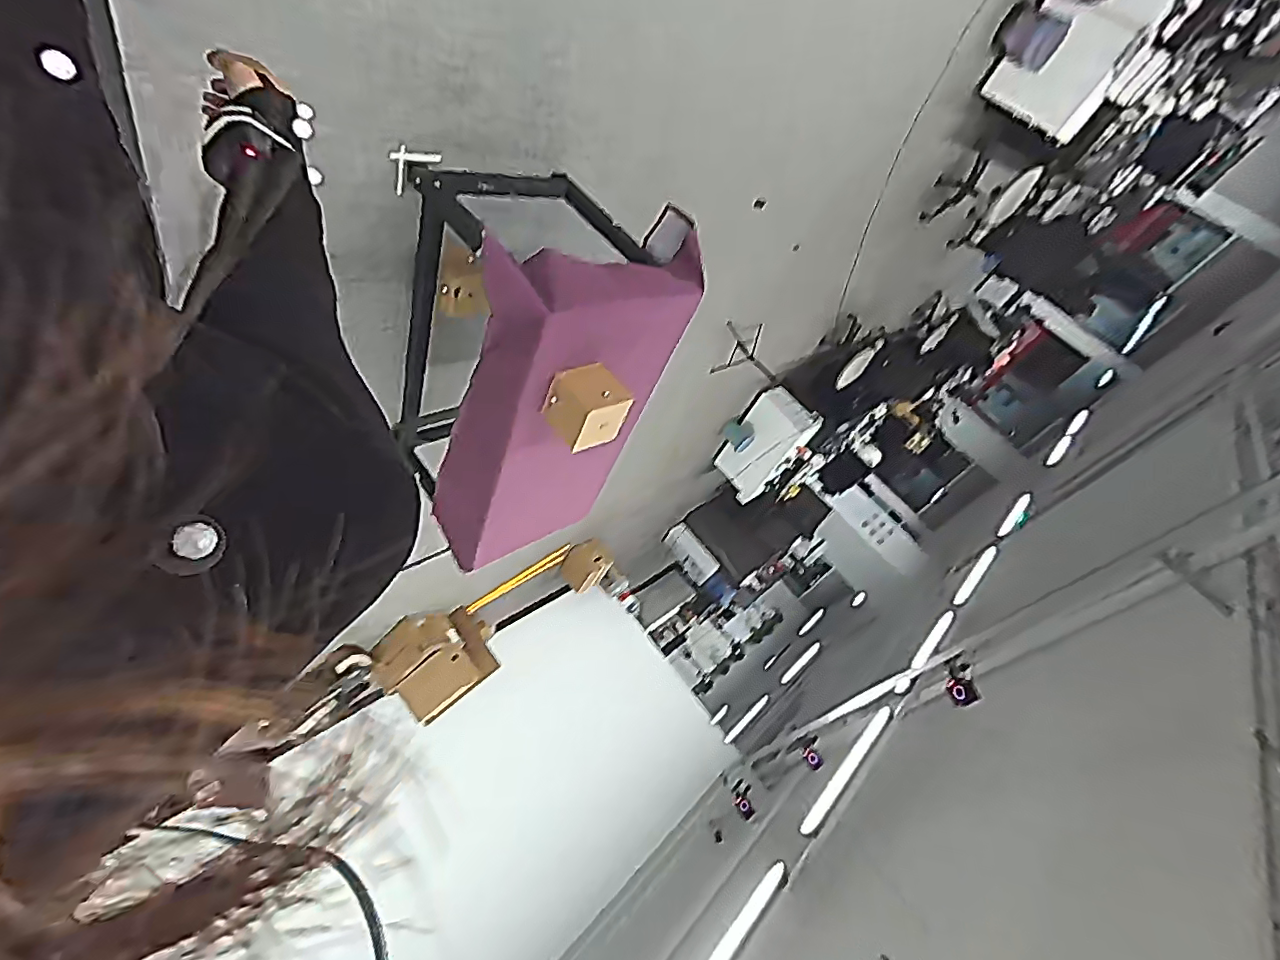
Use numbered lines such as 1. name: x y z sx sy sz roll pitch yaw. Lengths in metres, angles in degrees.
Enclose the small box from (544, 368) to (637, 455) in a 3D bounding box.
1. small box: -0.146 -0.203 1.562 0.179 0.176 0.168 -23 154 -41
